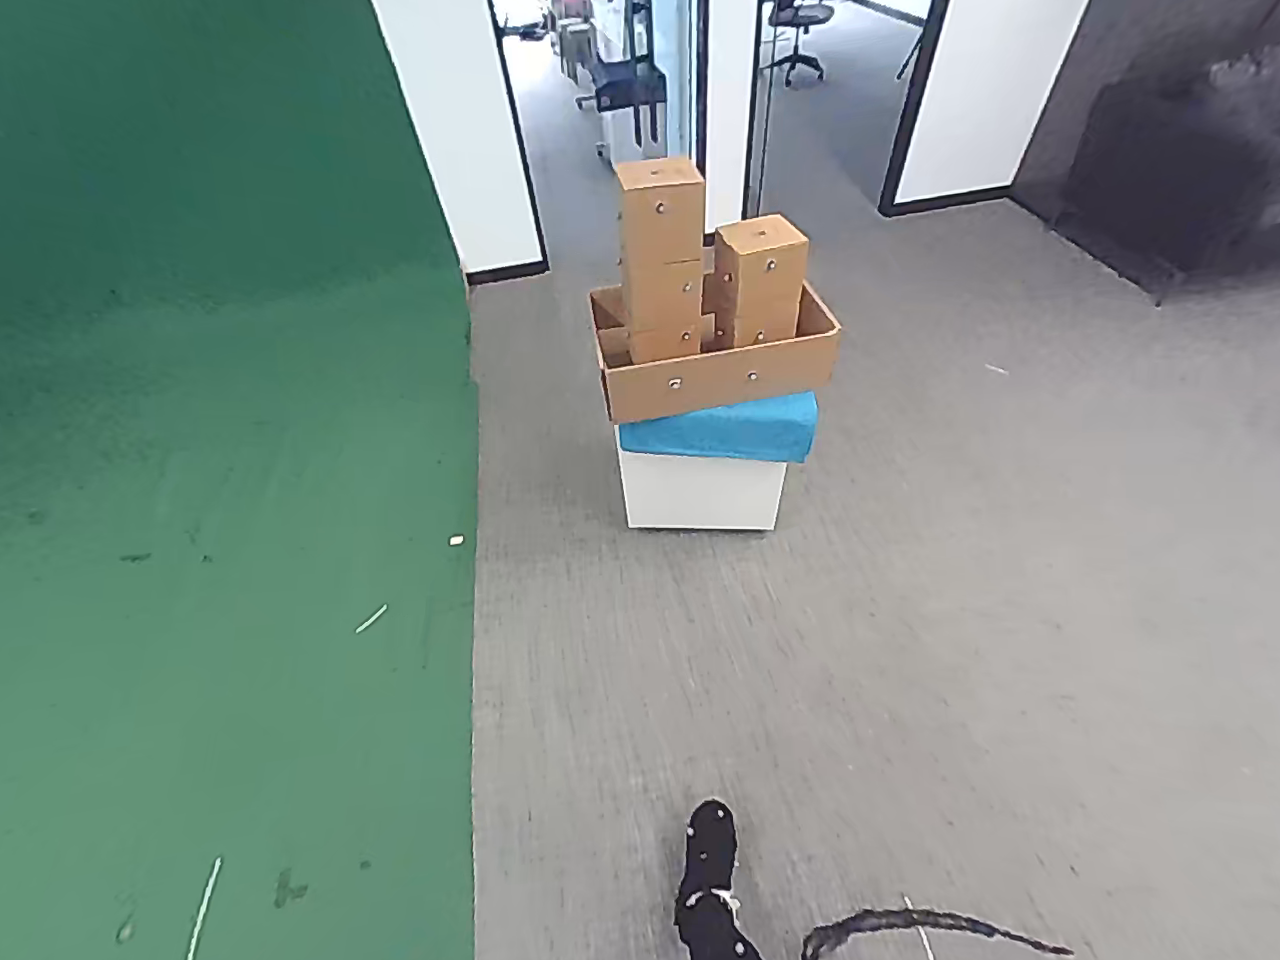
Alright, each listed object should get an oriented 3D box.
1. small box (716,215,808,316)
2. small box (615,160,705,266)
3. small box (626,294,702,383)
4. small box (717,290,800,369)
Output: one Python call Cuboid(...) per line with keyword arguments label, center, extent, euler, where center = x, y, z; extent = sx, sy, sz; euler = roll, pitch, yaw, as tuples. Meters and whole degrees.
Cuboid(label="small box", center=(0.301, -0.536, 1.361), extent=(0.179, 0.176, 0.168), euler=(-14, 48, -5))
Cuboid(label="small box", center=(0.045, -0.605, 1.234), extent=(0.179, 0.176, 0.168), euler=(-8, 48, -4))
Cuboid(label="small box", center=(0.066, -0.382, 1.475), extent=(0.179, 0.176, 0.168), euler=(-10, 47, -5))
Cuboid(label="small box", center=(0.320, -0.426, 1.481), extent=(0.179, 0.176, 0.168), euler=(-15, 48, -4))
